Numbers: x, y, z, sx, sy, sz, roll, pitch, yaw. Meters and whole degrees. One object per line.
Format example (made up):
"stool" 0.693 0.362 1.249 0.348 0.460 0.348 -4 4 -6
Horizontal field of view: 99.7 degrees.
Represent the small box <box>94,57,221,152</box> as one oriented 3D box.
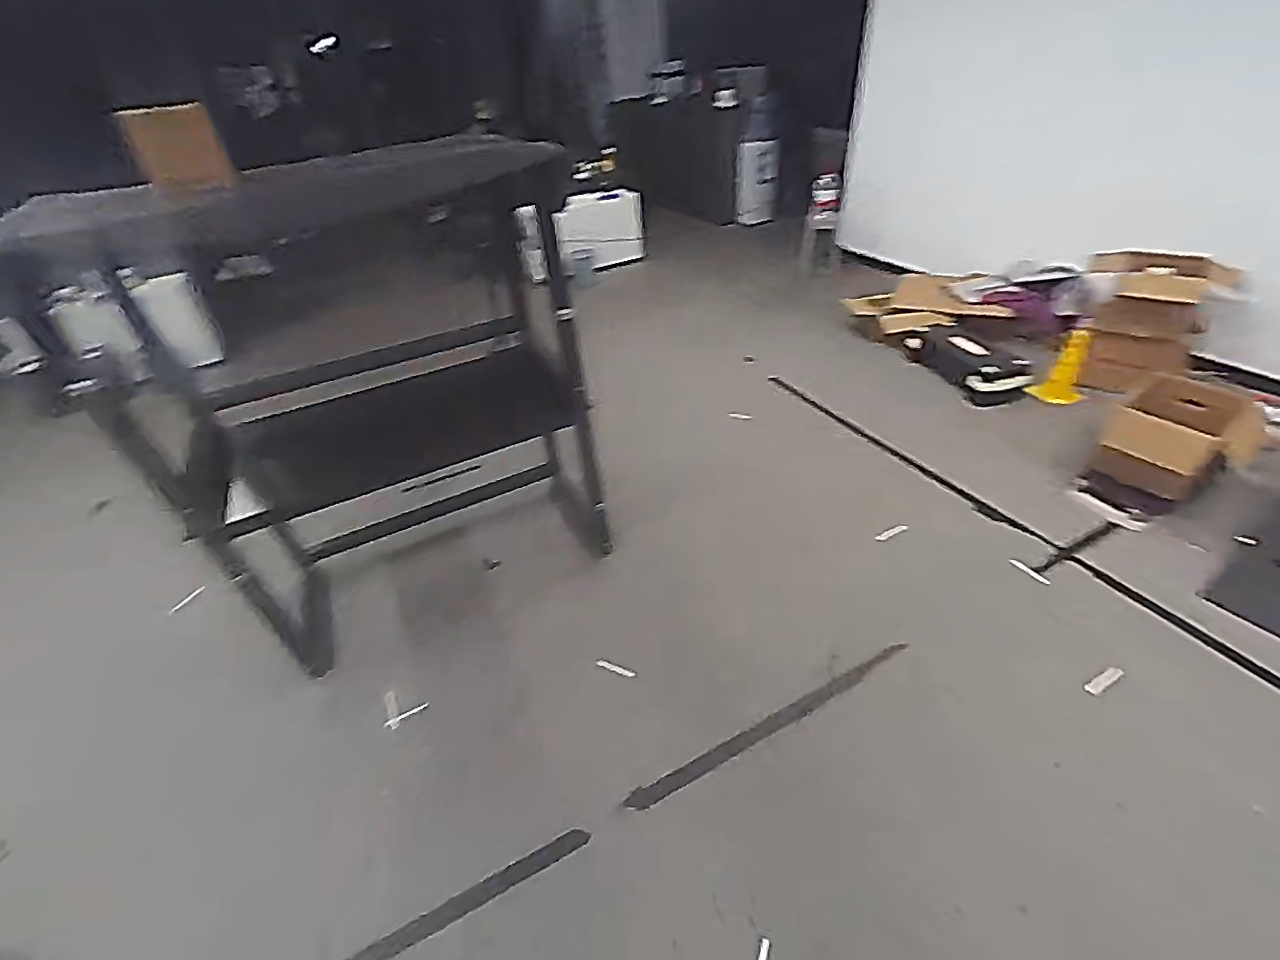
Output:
"small box" -1.140 -0.897 1.294 0.168 0.176 0.179 -23 43 -21
